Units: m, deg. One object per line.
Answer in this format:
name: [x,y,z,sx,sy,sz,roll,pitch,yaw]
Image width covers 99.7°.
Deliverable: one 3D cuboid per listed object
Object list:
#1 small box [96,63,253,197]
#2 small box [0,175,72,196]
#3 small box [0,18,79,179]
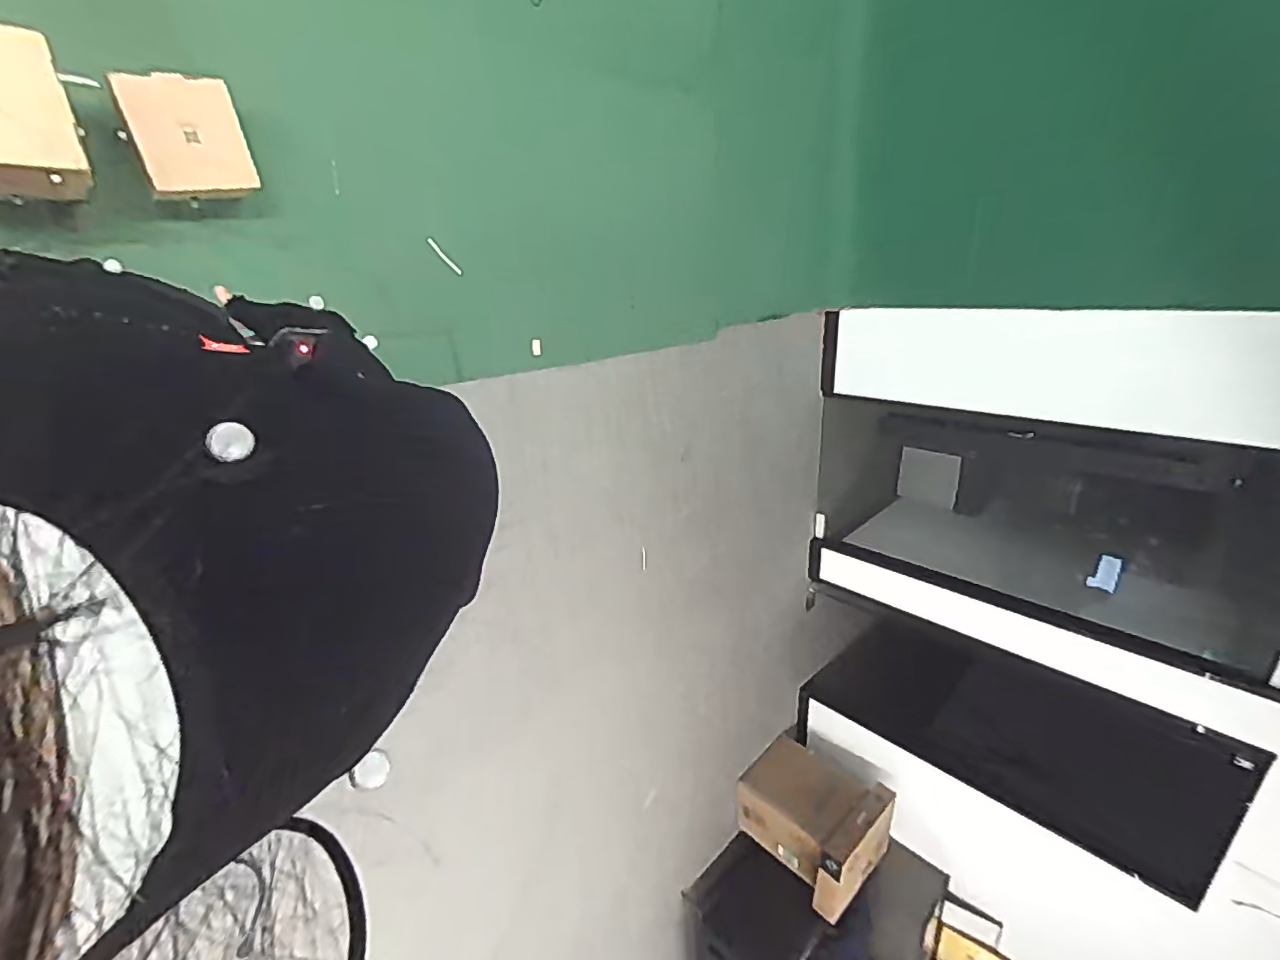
small box: [-0.858,-0.633,0.998,0.168,0.176,0.179,-27,122,-38]
small box: [-1.033,-0.550,0.843,0.168,0.176,0.179,-24,119,-39]
small box: [-0.913,-0.519,0.737,0.179,0.176,0.168,-21,118,-41]
